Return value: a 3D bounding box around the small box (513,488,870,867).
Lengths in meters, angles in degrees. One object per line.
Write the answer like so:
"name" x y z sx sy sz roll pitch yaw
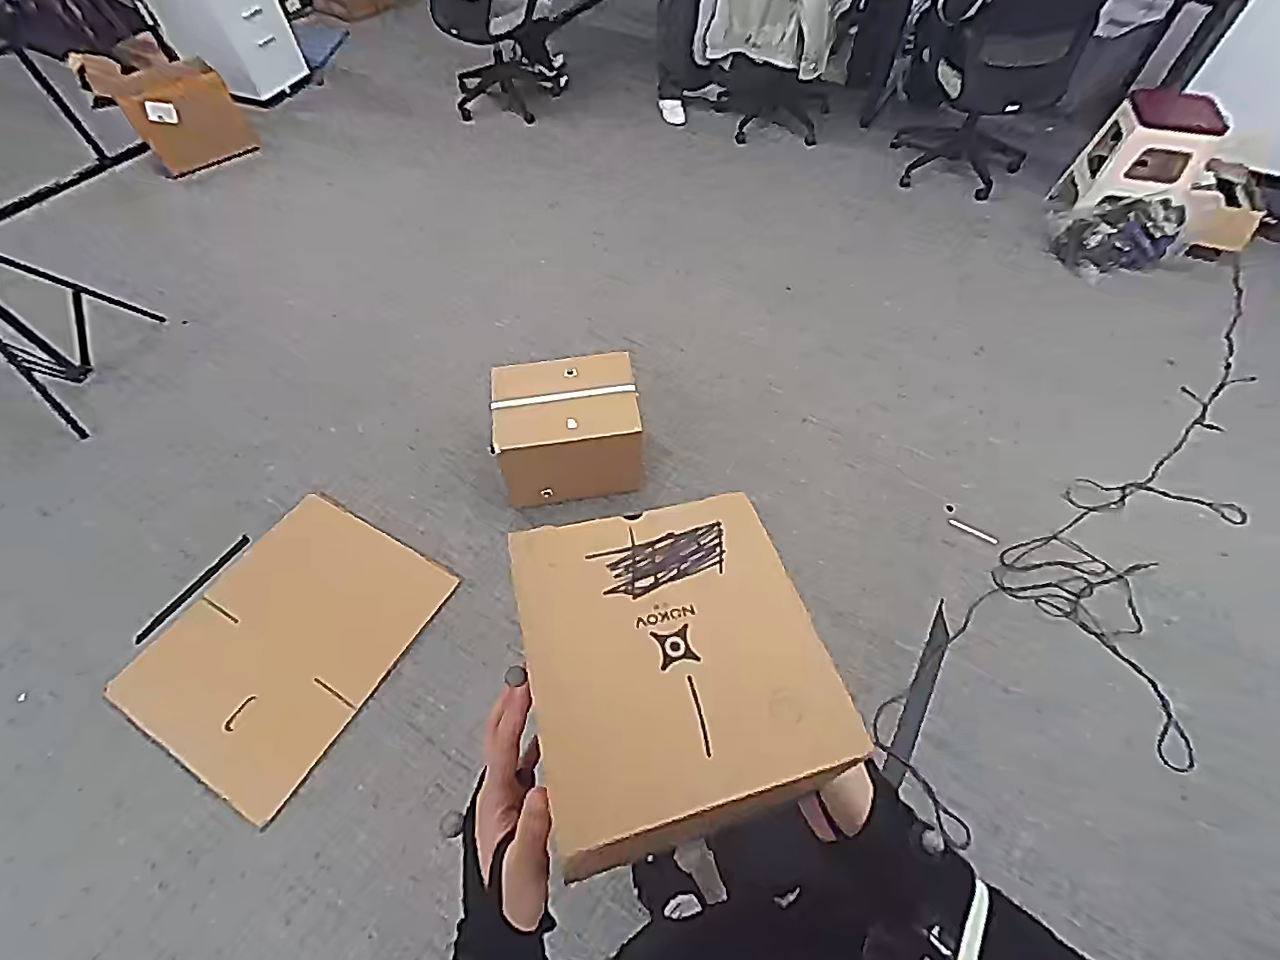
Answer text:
"small box" 0.011 0.133 0.369 0.168 0.176 0.179 -10 53 -13
